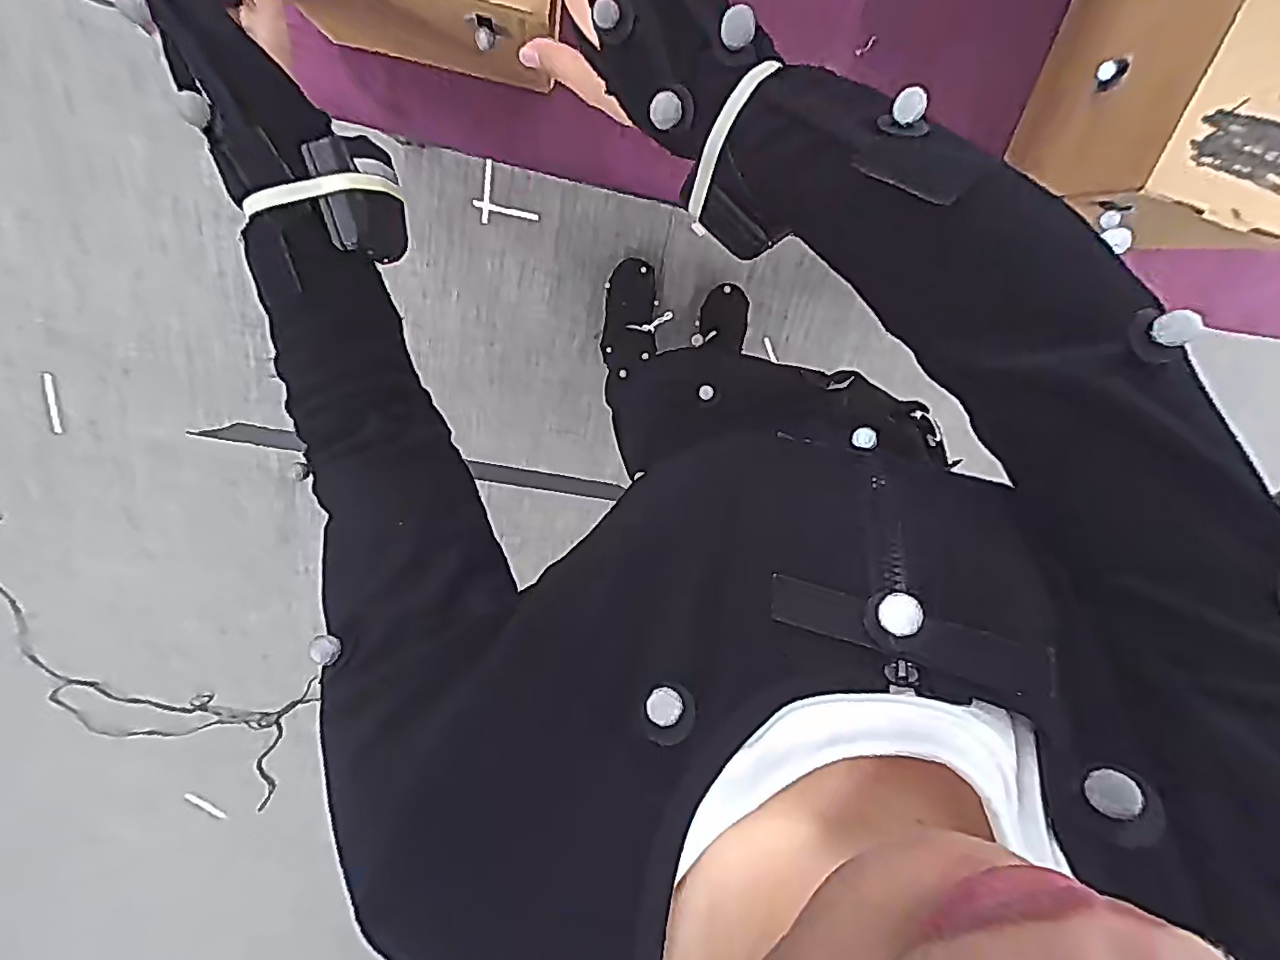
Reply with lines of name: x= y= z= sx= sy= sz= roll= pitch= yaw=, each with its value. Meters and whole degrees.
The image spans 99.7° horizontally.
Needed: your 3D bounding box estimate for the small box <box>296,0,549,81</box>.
small box: x=-0.143 y=-0.384 z=0.340 sx=0.179 sy=0.176 sz=0.168 roll=5 pitch=113 yaw=-13
